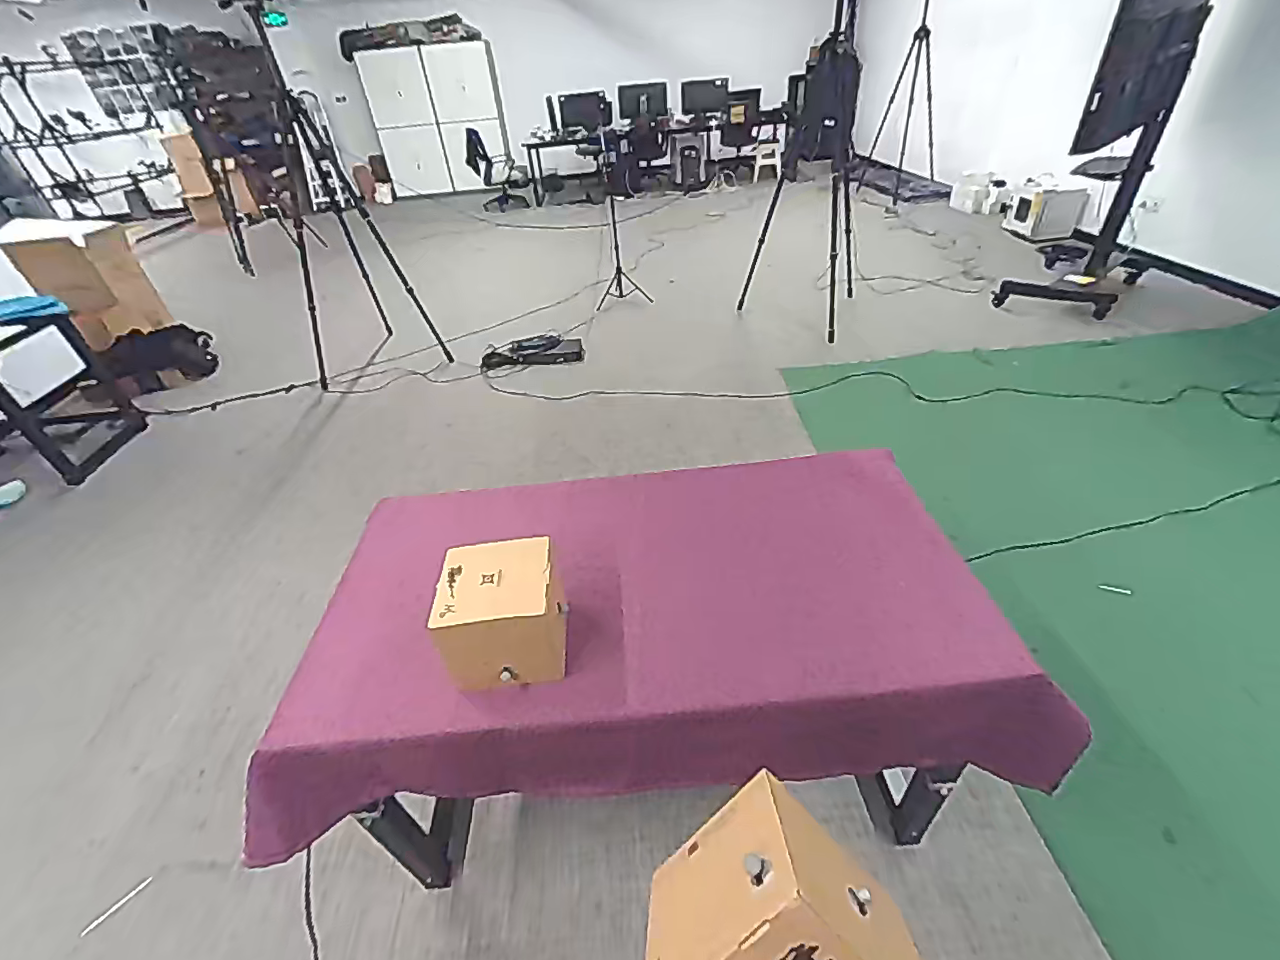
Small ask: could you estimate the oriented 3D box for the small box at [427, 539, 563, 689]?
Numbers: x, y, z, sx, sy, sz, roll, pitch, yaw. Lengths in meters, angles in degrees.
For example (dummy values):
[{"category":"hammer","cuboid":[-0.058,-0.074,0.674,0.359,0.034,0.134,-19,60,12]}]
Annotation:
[{"category":"small box","cuboid":[-0.224,0.221,0.893,0.179,0.176,0.168,-6,37,-2]}]
